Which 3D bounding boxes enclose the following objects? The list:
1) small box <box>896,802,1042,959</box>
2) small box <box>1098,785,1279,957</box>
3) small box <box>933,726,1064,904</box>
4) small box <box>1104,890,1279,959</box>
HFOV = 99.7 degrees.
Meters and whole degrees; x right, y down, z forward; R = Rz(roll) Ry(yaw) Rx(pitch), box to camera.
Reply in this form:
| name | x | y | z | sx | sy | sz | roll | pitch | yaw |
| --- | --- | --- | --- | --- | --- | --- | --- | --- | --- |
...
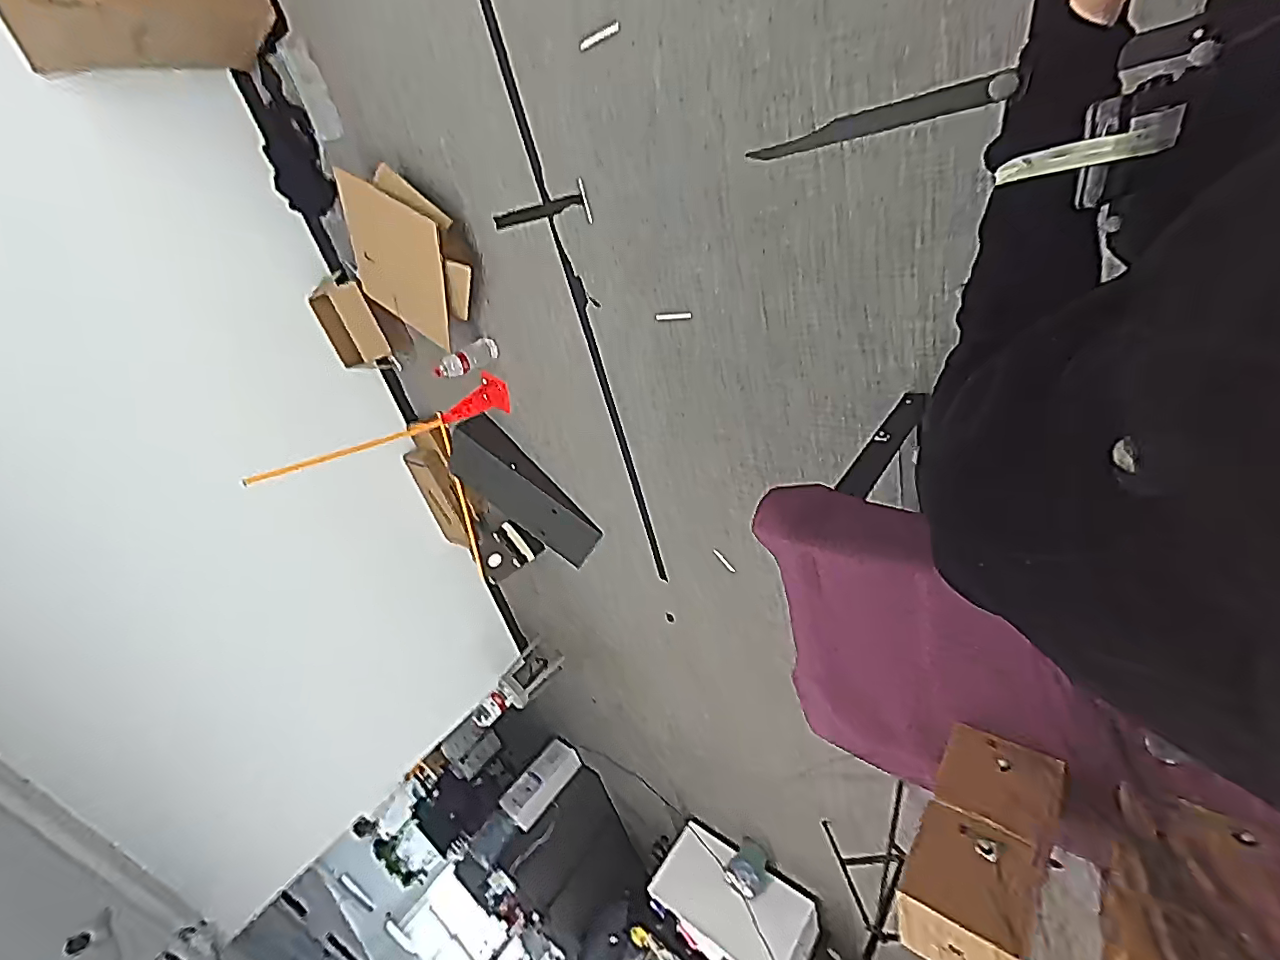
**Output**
| name | x | y | z | sx | sy | sz | roll | pitch | yaw |
| --- | --- | --- | --- | --- | --- | --- | --- | --- | --- |
| small box | 0.520 | 0.663 | 0.854 | 0.168 | 0.176 | 0.179 | 7 | 124 | 41 |
| small box | 0.792 | 0.593 | 0.788 | 0.168 | 0.176 | 0.179 | 11 | 128 | 41 |
| small box | 0.624 | 0.577 | 0.947 | 0.168 | 0.176 | 0.179 | 10 | 126 | 39 |
| small box | 0.703 | 0.681 | 0.682 | 0.168 | 0.176 | 0.179 | 13 | 128 | 39 |
